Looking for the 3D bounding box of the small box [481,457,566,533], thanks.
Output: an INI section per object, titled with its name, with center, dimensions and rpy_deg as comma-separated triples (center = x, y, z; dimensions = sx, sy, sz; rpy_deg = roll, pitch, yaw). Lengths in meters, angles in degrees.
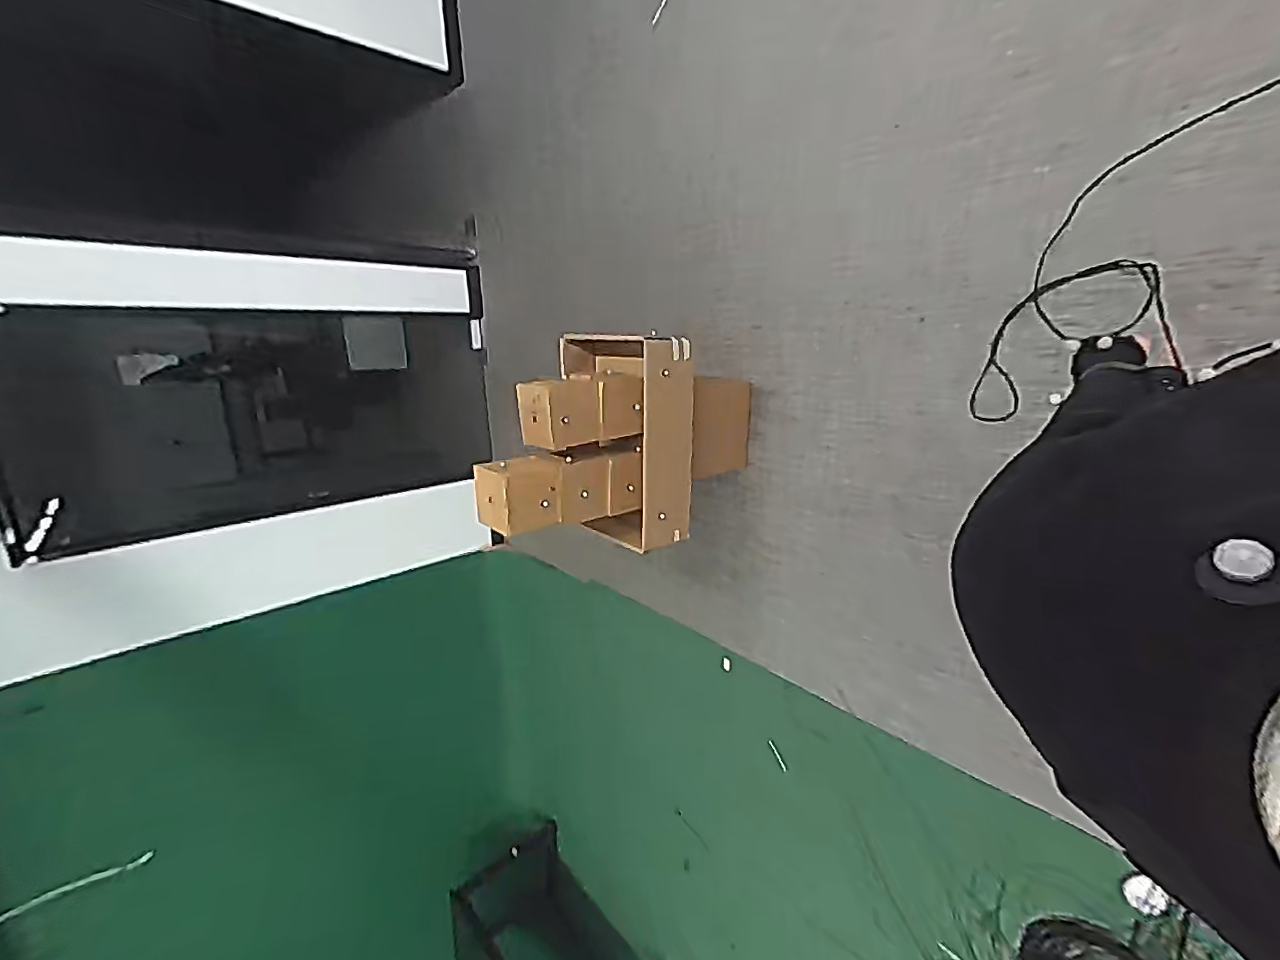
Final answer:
[small box]
center = -0.320, 0.033, 1.493
dimensions = 0.179, 0.176, 0.168
rpy_deg = 15, 110, 47
